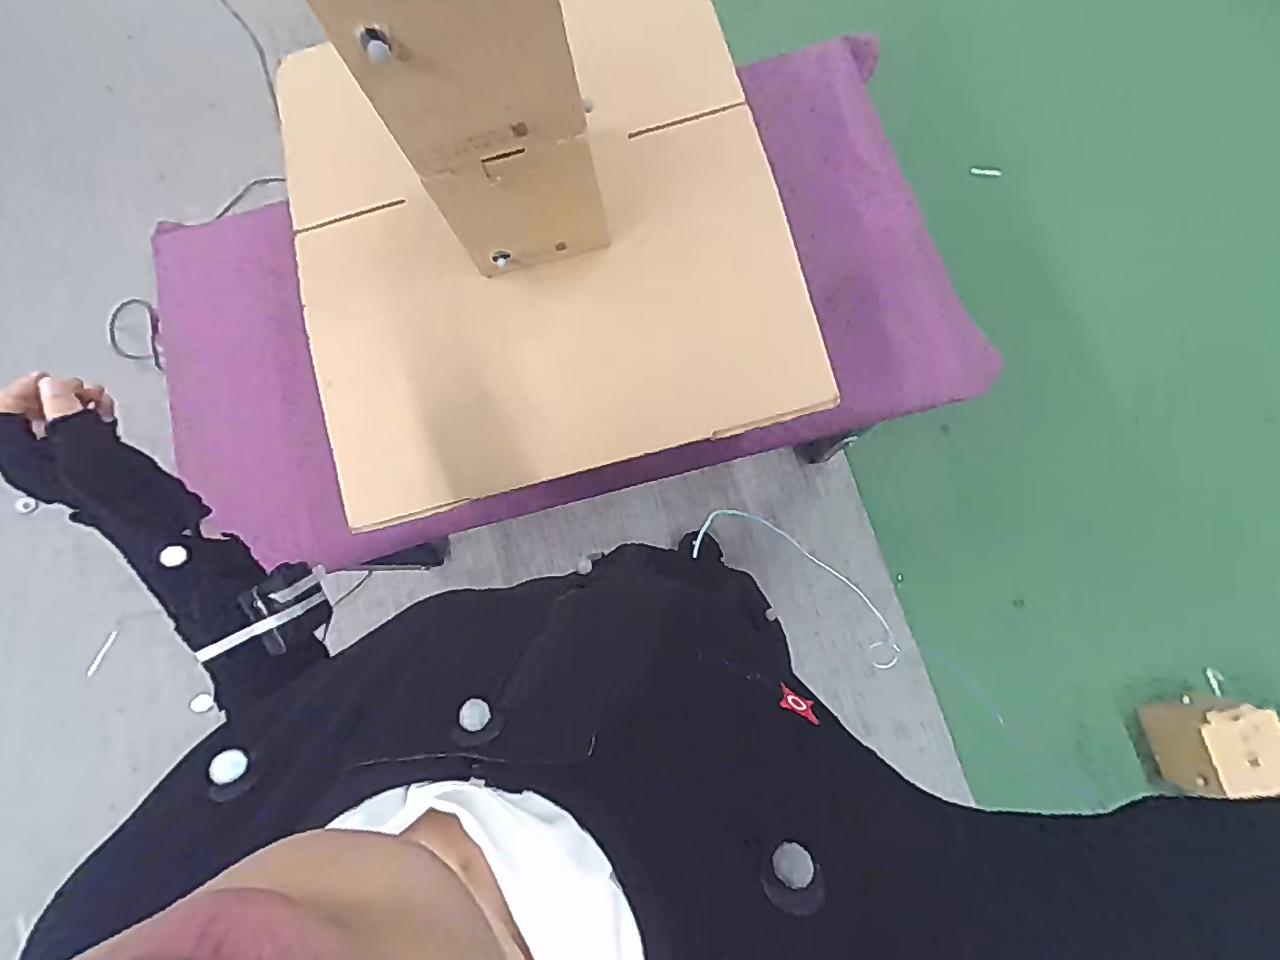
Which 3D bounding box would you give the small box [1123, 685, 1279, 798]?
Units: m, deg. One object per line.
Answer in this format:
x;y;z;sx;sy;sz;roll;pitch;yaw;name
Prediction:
1.305;0.604;1.268;0.168;0.176;0.179;-15;81;1;small box

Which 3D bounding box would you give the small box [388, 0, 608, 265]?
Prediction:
-0.142;-0.365;0.597;0.168;0.176;0.179;-18;80;1;small box
